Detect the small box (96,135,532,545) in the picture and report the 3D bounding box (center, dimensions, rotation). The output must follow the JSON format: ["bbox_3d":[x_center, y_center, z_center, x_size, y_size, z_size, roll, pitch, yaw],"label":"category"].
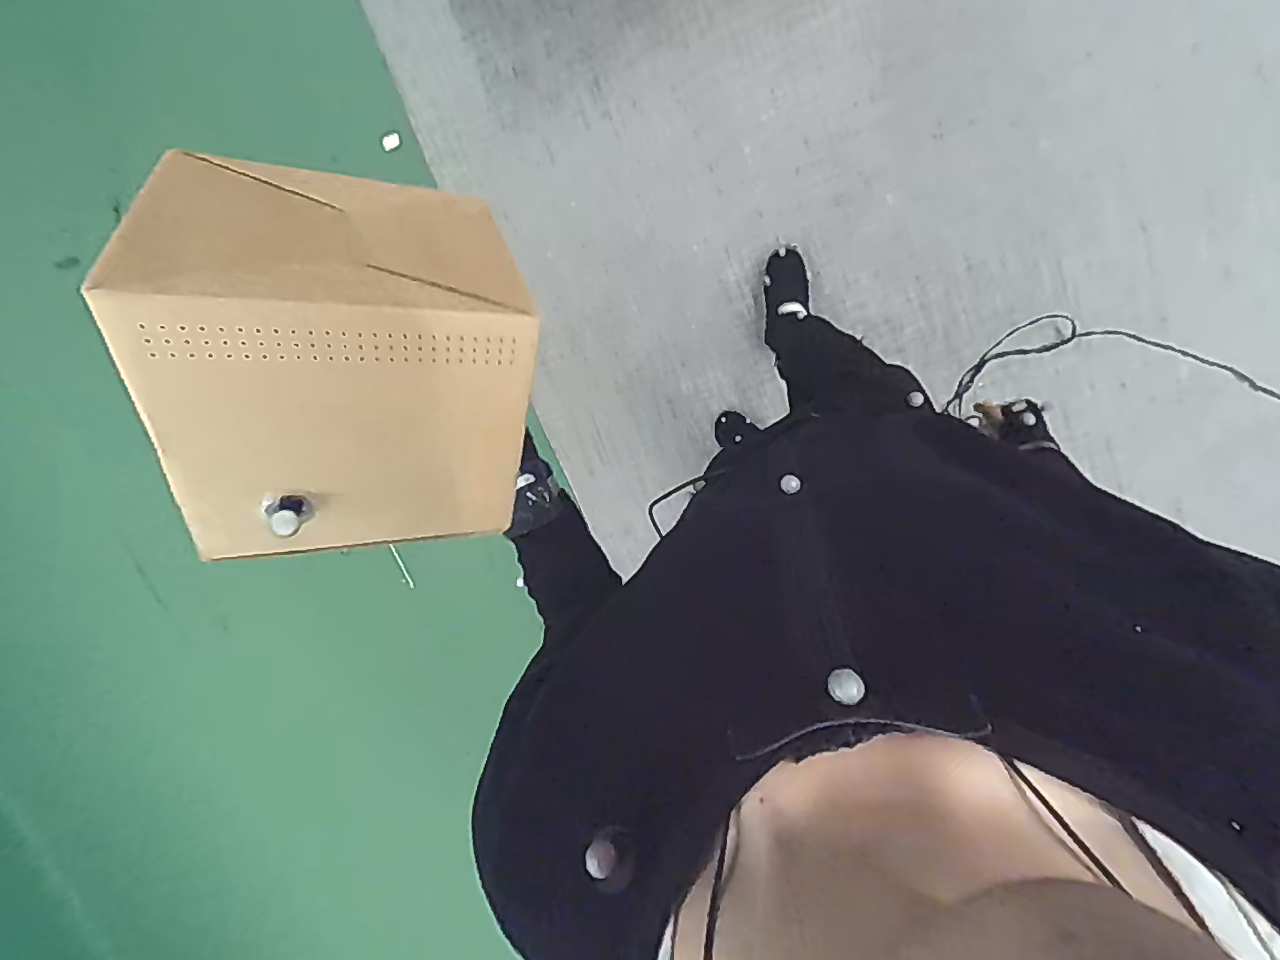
[{"bbox_3d":[-0.176,-0.084,0.327,0.179,0.168,0.176,-5,138,-25],"label":"small box"}]
